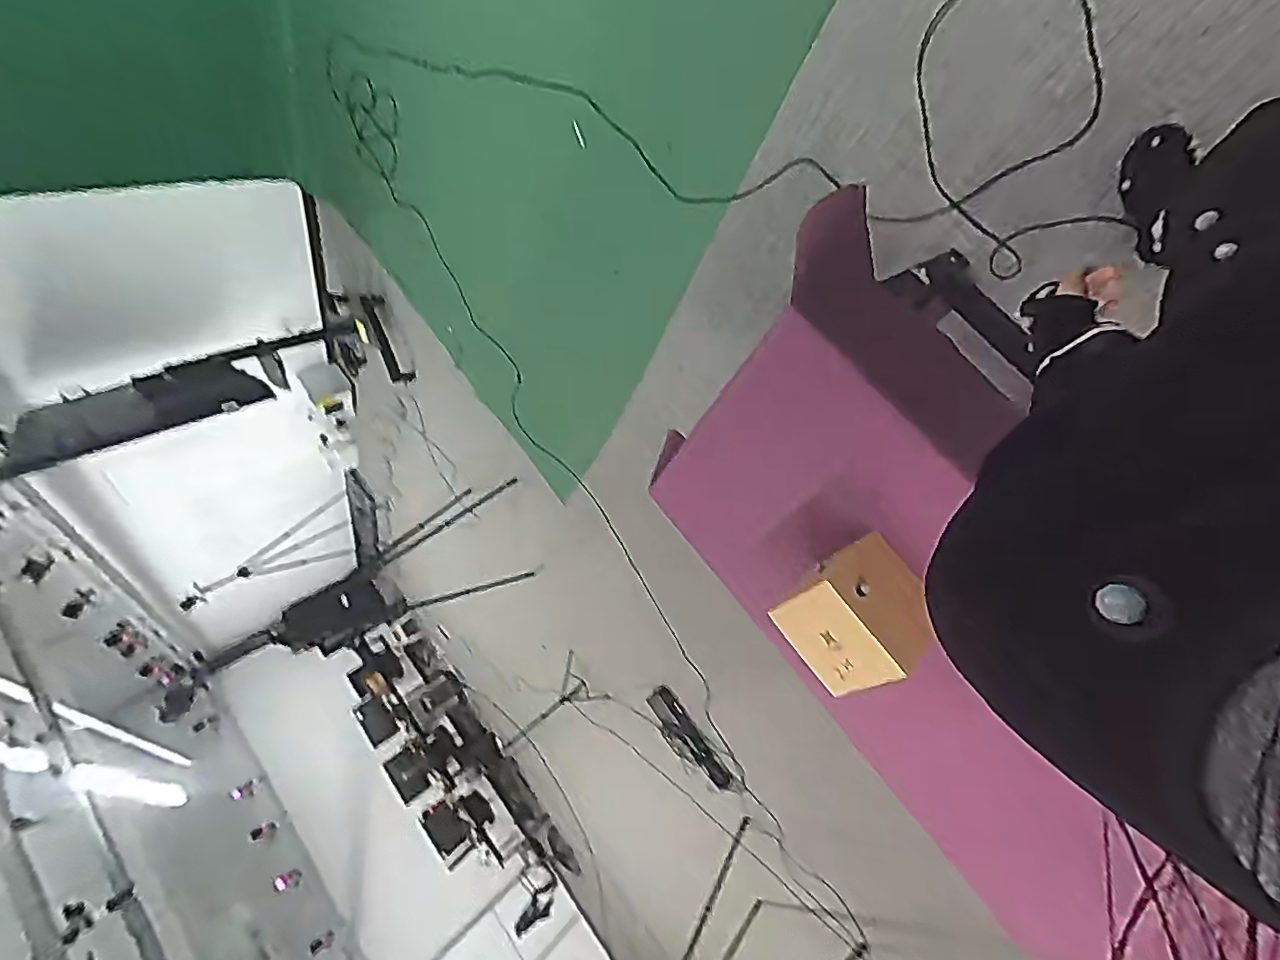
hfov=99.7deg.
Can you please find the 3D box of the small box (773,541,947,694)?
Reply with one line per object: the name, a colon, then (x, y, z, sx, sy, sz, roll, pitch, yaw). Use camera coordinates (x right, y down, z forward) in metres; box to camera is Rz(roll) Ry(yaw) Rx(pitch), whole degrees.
small box: (0.369, 0.224, 0.911, 0.179, 0.176, 0.168, 52, 144, 11)
